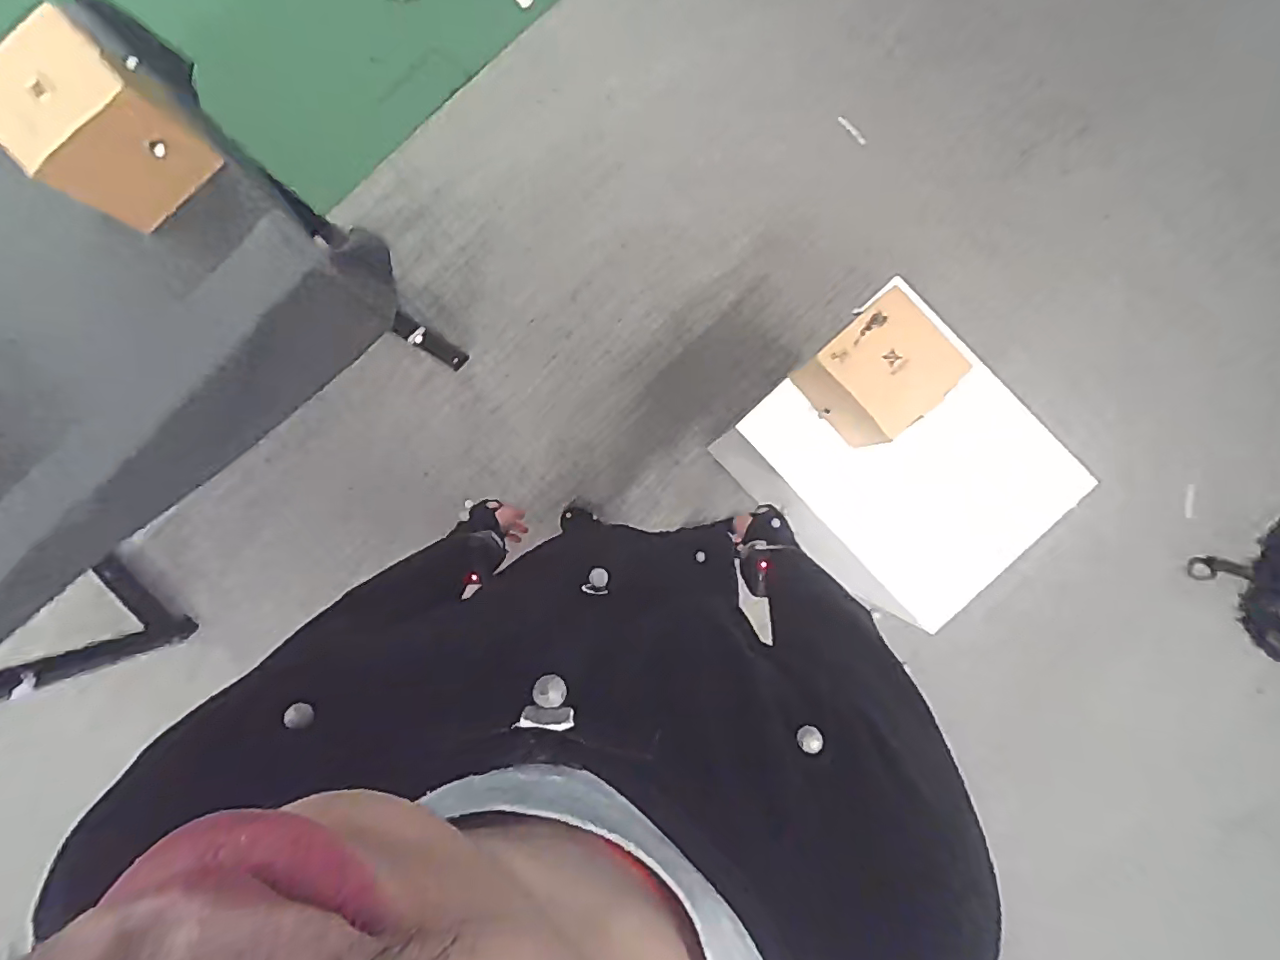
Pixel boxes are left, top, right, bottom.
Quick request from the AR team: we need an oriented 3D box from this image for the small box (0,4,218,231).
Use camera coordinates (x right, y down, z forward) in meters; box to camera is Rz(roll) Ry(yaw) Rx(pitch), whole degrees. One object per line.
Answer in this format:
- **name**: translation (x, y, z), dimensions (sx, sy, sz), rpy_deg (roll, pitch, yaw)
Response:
- **small box**: translation (-0.775, -0.512, 0.791), dimensions (0.179, 0.176, 0.168), rpy_deg (-42, 87, 2)

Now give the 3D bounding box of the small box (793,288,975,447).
- **small box**: translation (0.379, -0.169, 0.875), dimensions (0.168, 0.176, 0.179), rpy_deg (-42, 90, 1)
